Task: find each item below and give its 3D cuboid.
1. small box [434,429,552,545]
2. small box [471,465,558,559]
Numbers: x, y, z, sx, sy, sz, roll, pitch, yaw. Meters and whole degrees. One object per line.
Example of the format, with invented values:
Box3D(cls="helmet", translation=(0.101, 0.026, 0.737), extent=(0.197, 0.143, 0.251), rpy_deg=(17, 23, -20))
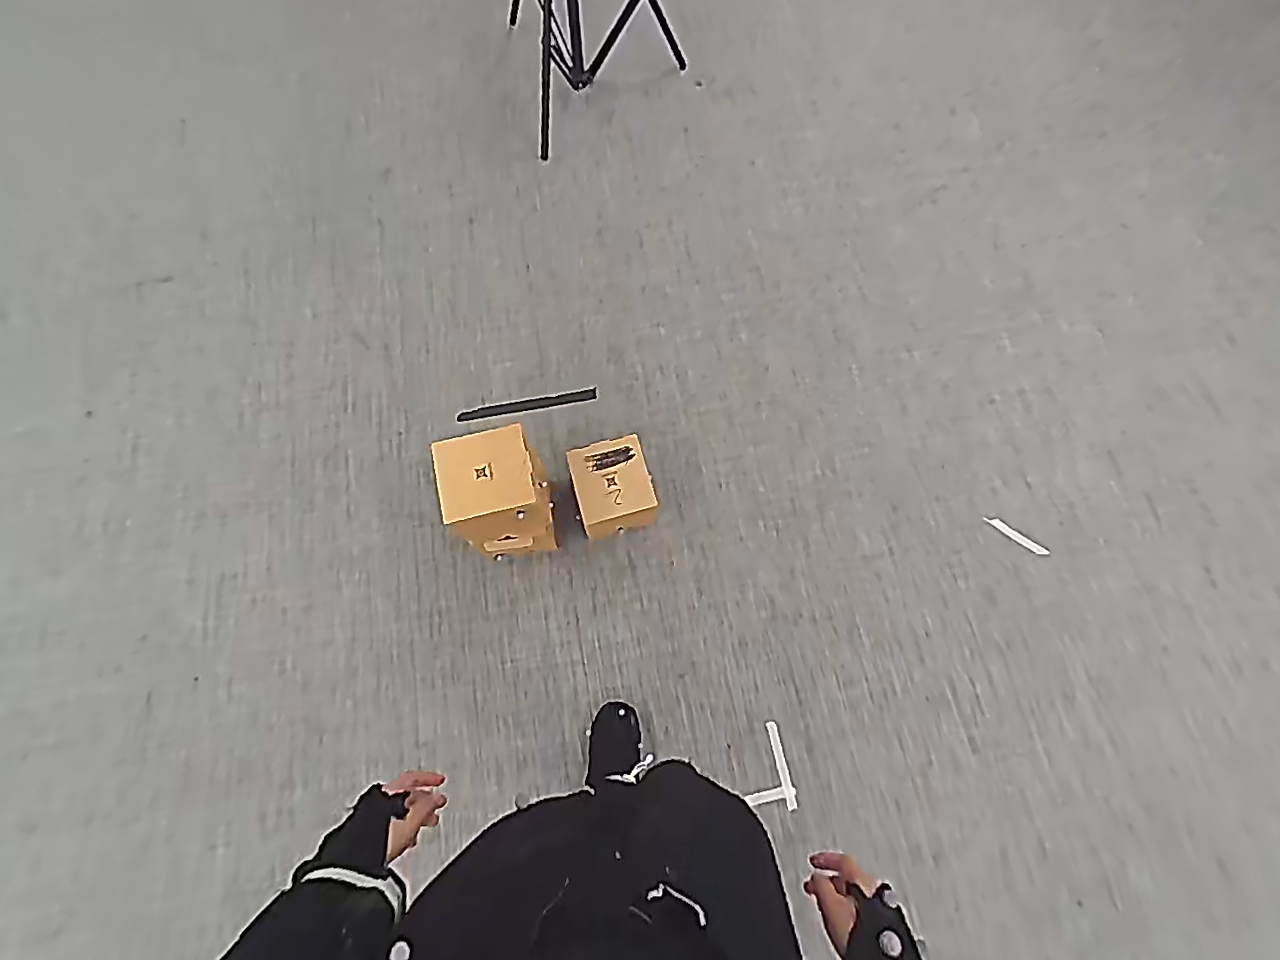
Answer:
Box3D(cls="small box", translation=(-0.288, 0.021, 1.082), extent=(0.179, 0.176, 0.168), rpy_deg=(-14, 72, -5))
Box3D(cls="small box", translation=(-0.285, 0.079, 1.234), extent=(0.168, 0.176, 0.179), rpy_deg=(-8, 71, -3))
